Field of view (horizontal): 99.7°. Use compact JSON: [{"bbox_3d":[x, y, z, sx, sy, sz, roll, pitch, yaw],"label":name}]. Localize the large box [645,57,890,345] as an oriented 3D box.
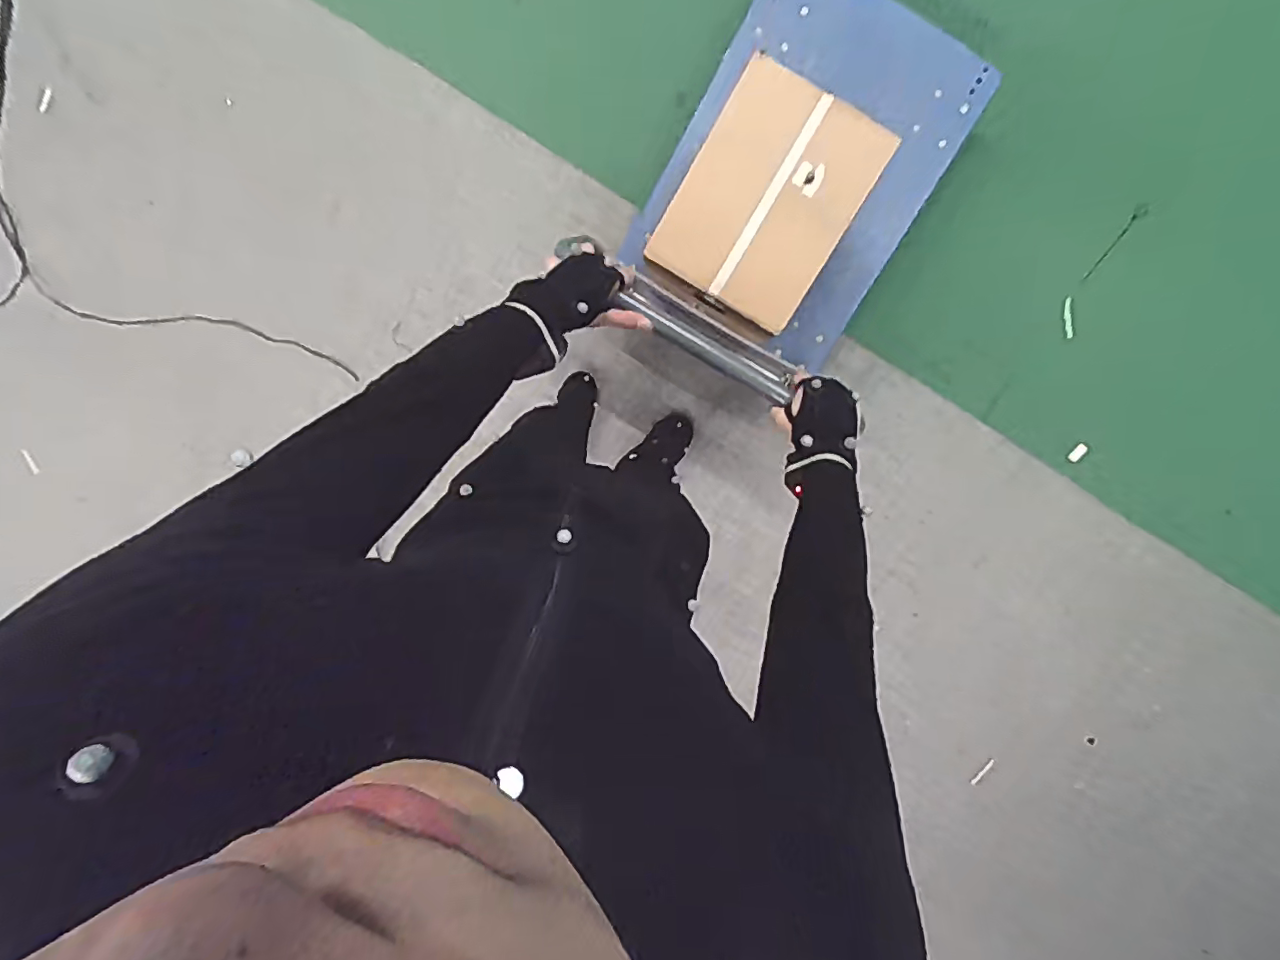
[{"bbox_3d":[0.245,-0.552,1.169,0.320,0.320,0.408,31,100,-2],"label":"large box"}]
